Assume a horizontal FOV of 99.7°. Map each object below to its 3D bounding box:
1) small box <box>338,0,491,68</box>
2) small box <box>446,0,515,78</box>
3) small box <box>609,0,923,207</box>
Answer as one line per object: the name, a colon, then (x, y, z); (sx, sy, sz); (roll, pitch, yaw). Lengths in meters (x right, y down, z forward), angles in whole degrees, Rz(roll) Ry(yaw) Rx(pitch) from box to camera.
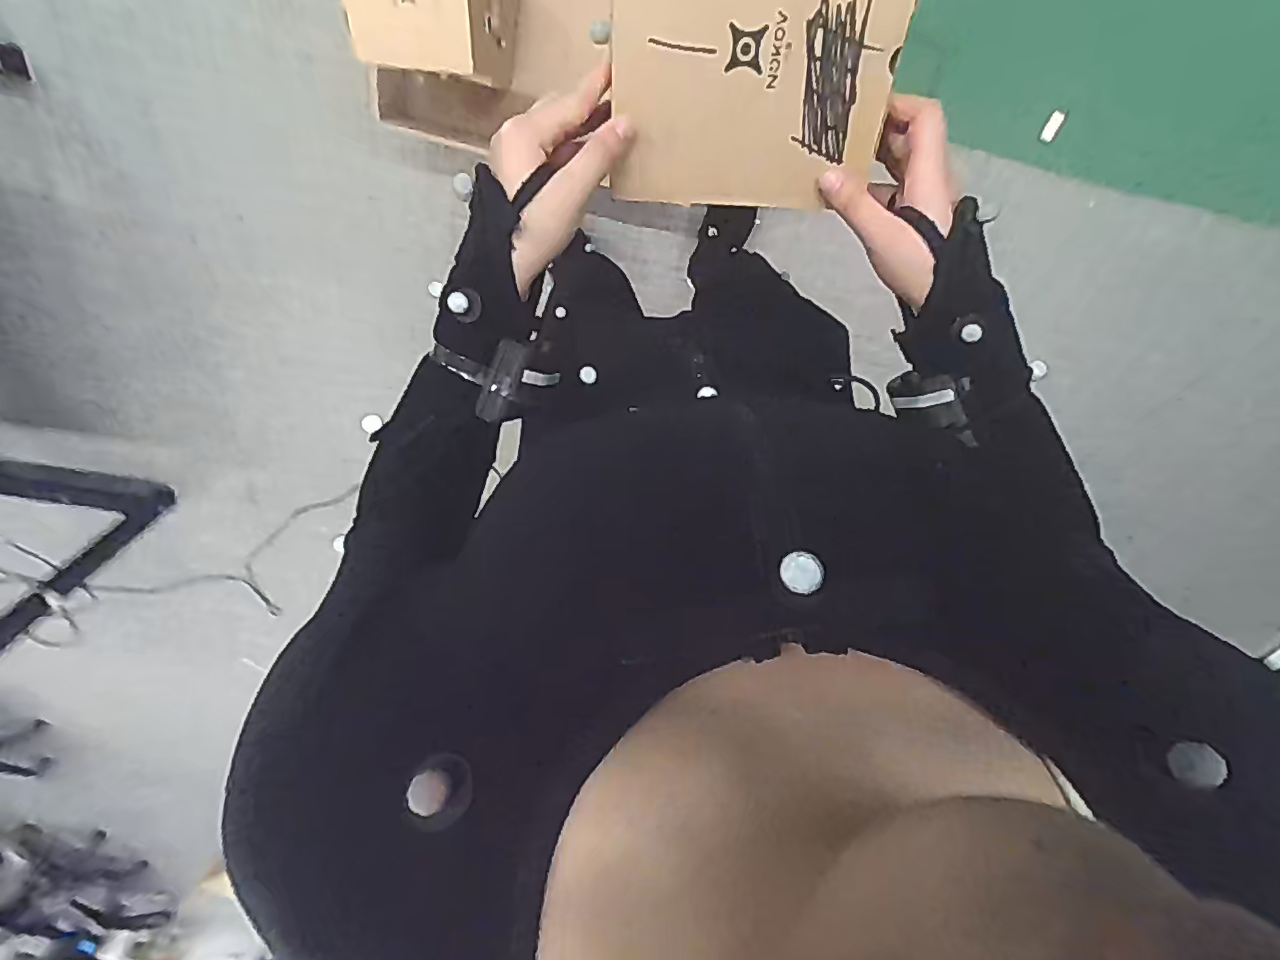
small box: (-0.328, -0.719, 0.797); (0.179, 0.176, 0.168); (2, 127, -4)
small box: (-0.325, -0.814, 0.932); (0.179, 0.176, 0.168); (12, 125, -8)
small box: (0.068, -0.302, 0.376); (0.179, 0.176, 0.168); (0, 129, -3)
